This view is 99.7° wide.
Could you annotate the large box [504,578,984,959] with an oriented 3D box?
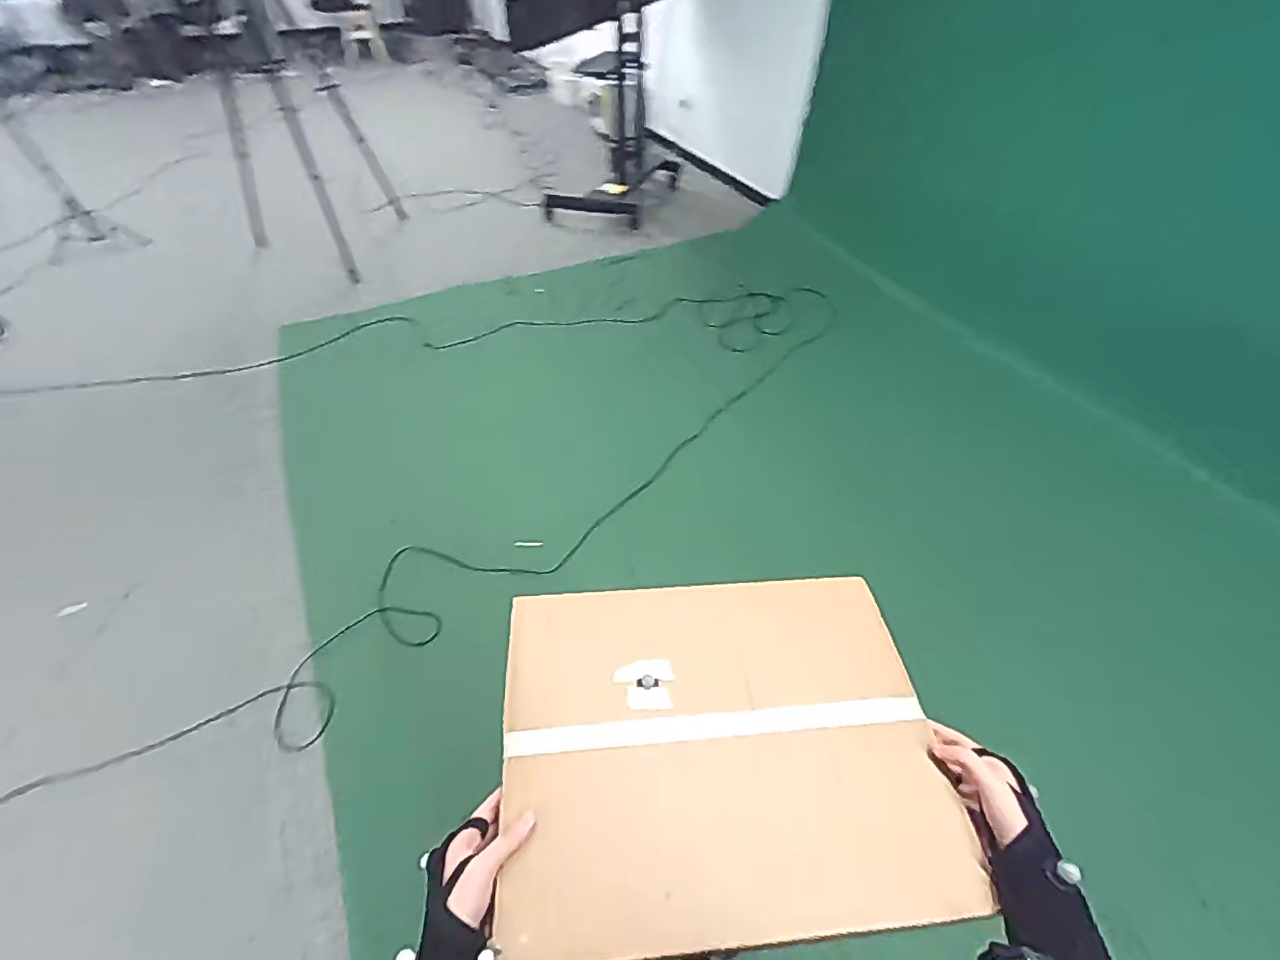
[{"bbox_3d":[0.074,0.343,0.638,0.408,0.320,0.320,-4,48,-5],"label":"large box"}]
